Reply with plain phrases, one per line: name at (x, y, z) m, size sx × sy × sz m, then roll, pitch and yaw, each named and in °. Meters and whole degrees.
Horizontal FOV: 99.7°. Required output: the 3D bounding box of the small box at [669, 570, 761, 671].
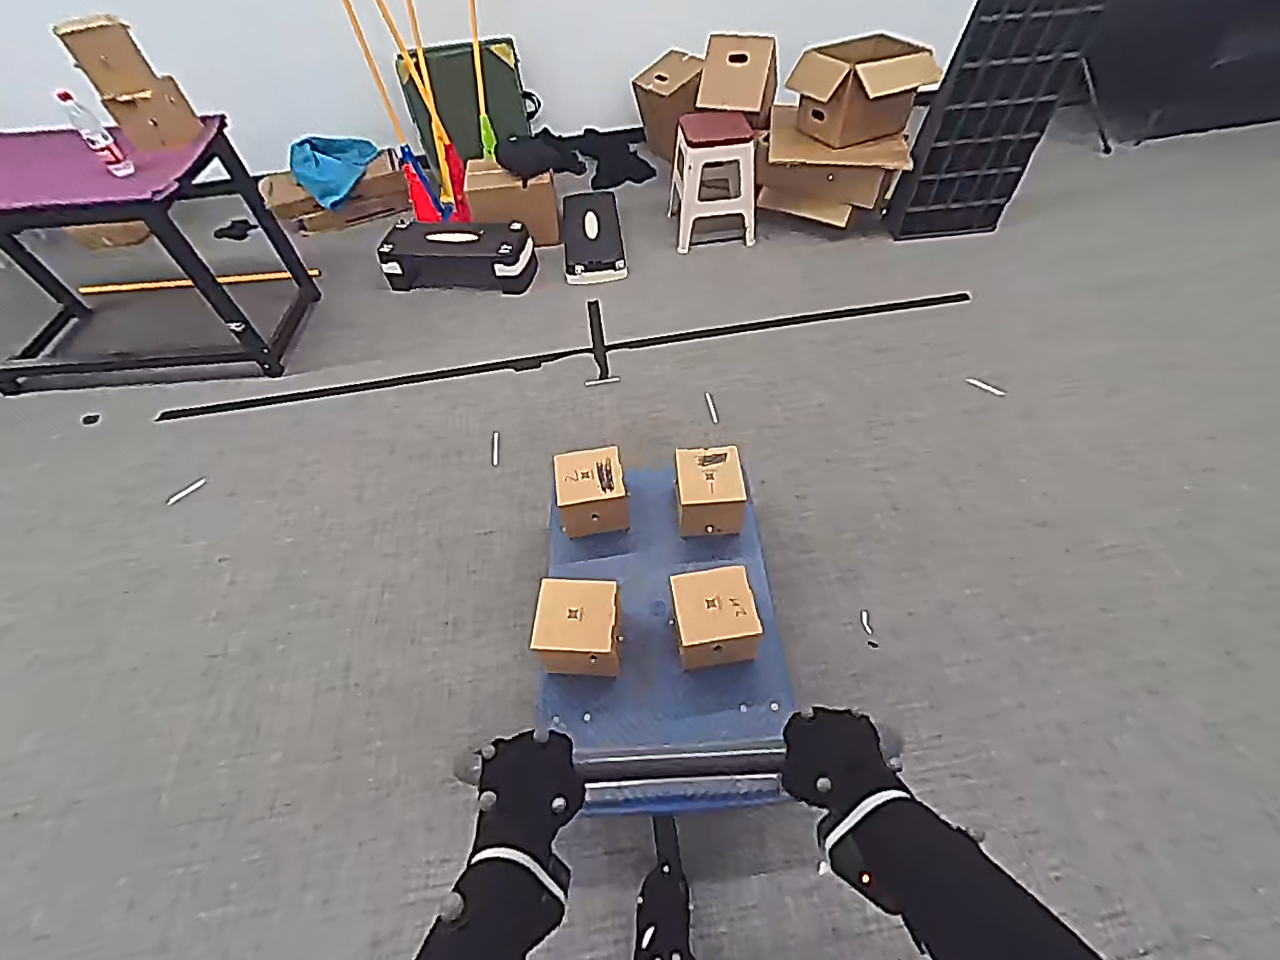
small box at (0.167, 0.329, 1.252) m, size 0.179 × 0.176 × 0.168 m, roll -8°, pitch 54°, yaw -2°

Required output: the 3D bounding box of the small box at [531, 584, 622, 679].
small box at (-0.139, 0.354, 1.255) m, size 0.179 × 0.176 × 0.168 m, roll 1°, pitch 54°, yaw 3°

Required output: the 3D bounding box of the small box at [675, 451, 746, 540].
small box at (0.182, 0.044, 1.458) m, size 0.168 × 0.176 × 0.179 m, roll -4°, pitch 55°, yaw 1°
